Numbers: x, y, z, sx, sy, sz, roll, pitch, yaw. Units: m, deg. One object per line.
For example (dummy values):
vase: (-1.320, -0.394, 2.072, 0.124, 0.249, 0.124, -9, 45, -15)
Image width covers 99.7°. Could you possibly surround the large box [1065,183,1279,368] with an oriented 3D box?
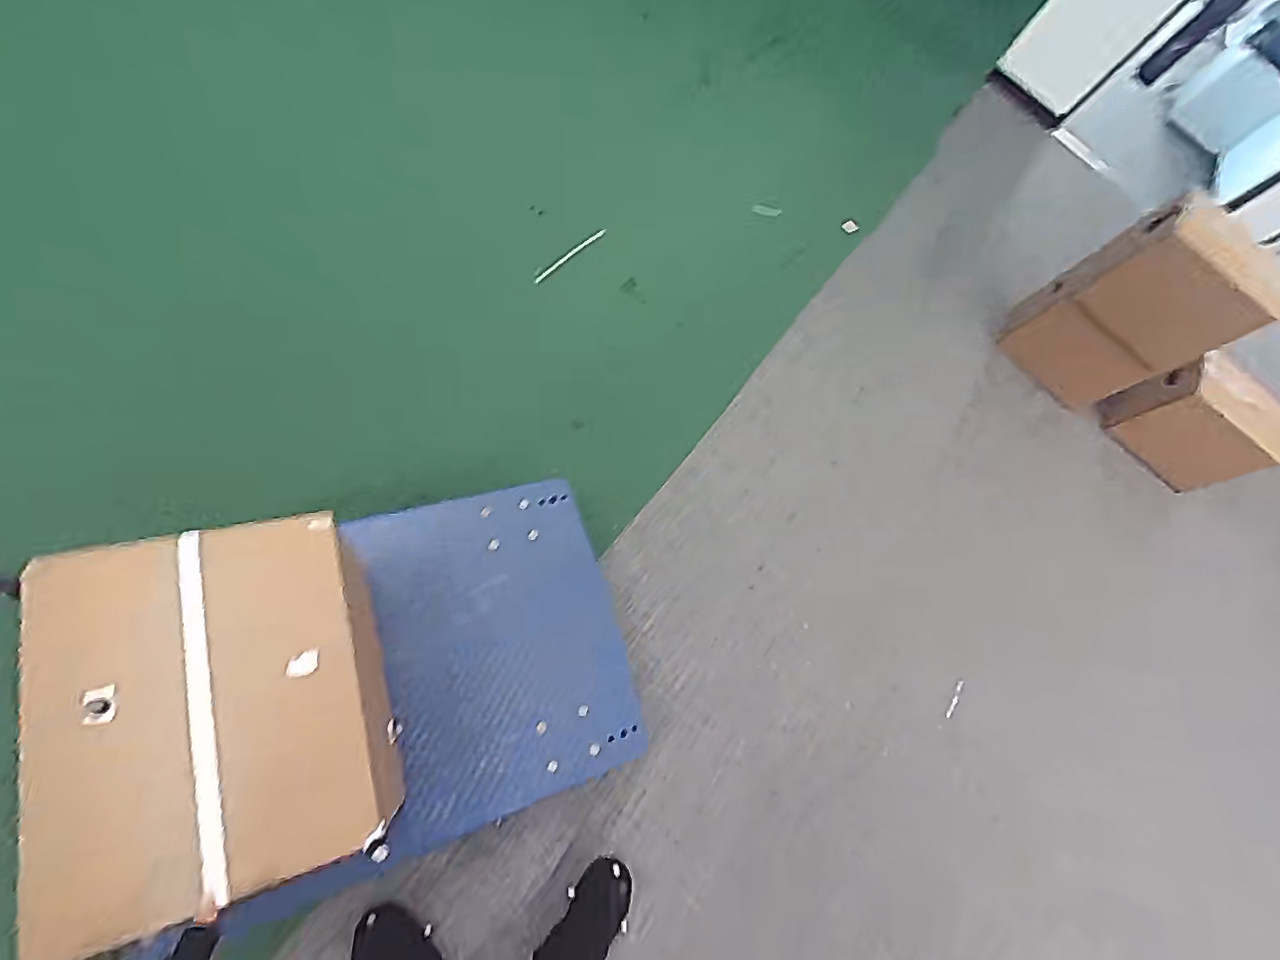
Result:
large box: (1.715, -0.649, 1.756, 0.408, 0.320, 0.320, 41, 65, 2)
